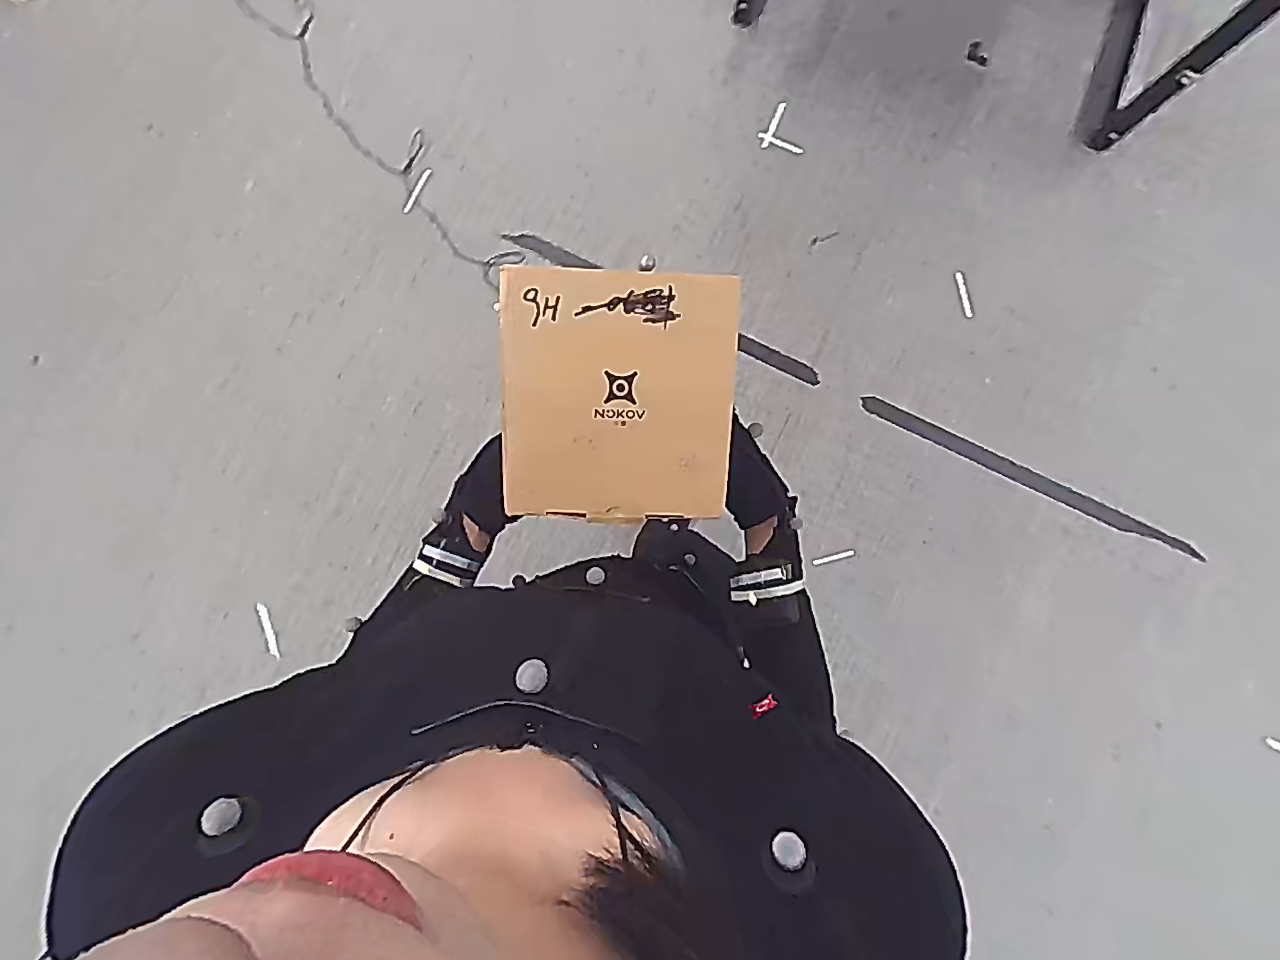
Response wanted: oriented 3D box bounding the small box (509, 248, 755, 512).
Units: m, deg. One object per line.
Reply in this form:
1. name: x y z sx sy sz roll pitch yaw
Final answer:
1. small box: -0.012 -0.083 0.452 0.168 0.176 0.179 2 104 -4
